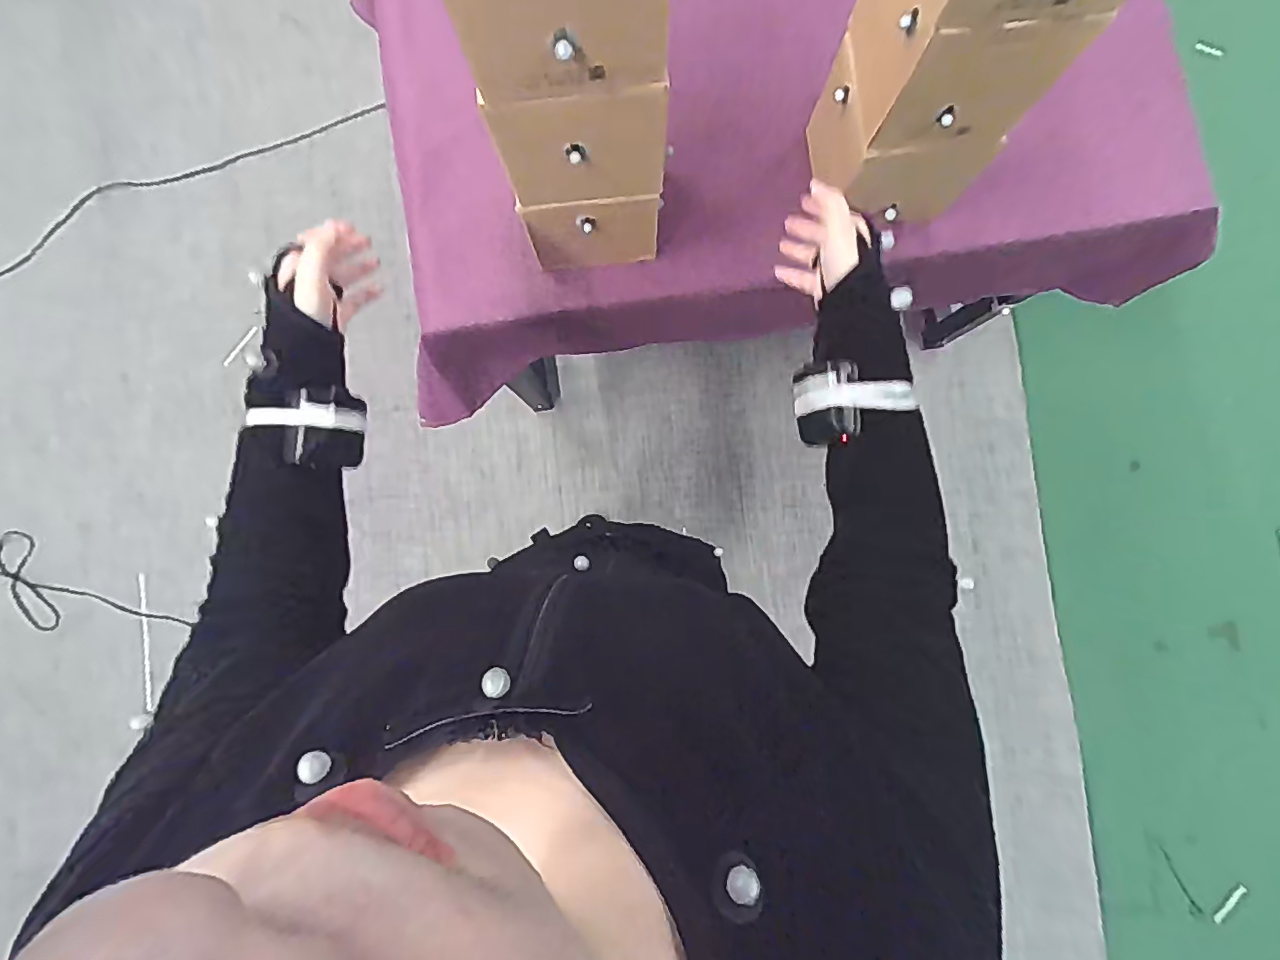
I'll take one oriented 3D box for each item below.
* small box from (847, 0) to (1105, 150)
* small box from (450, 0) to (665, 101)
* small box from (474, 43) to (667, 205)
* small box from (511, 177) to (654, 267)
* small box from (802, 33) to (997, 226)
[{"bbox_3d":[0.338,-0.496,0.581,0.168,0.176,0.179,-6,87,0],"label":"small box"},{"bbox_3d":[-0.071,-0.440,0.414,0.168,0.176,0.179,-7,87,0],"label":"small box"},{"bbox_3d":[-0.069,-0.423,0.578,0.179,0.176,0.168,-6,87,1],"label":"small box"},{"bbox_3d":[-0.074,-0.409,0.741,0.179,0.176,0.168,-5,87,-1],"label":"small box"},{"bbox_3d":[0.342,-0.475,0.743,0.179,0.176,0.168,-7,86,-1],"label":"small box"}]
